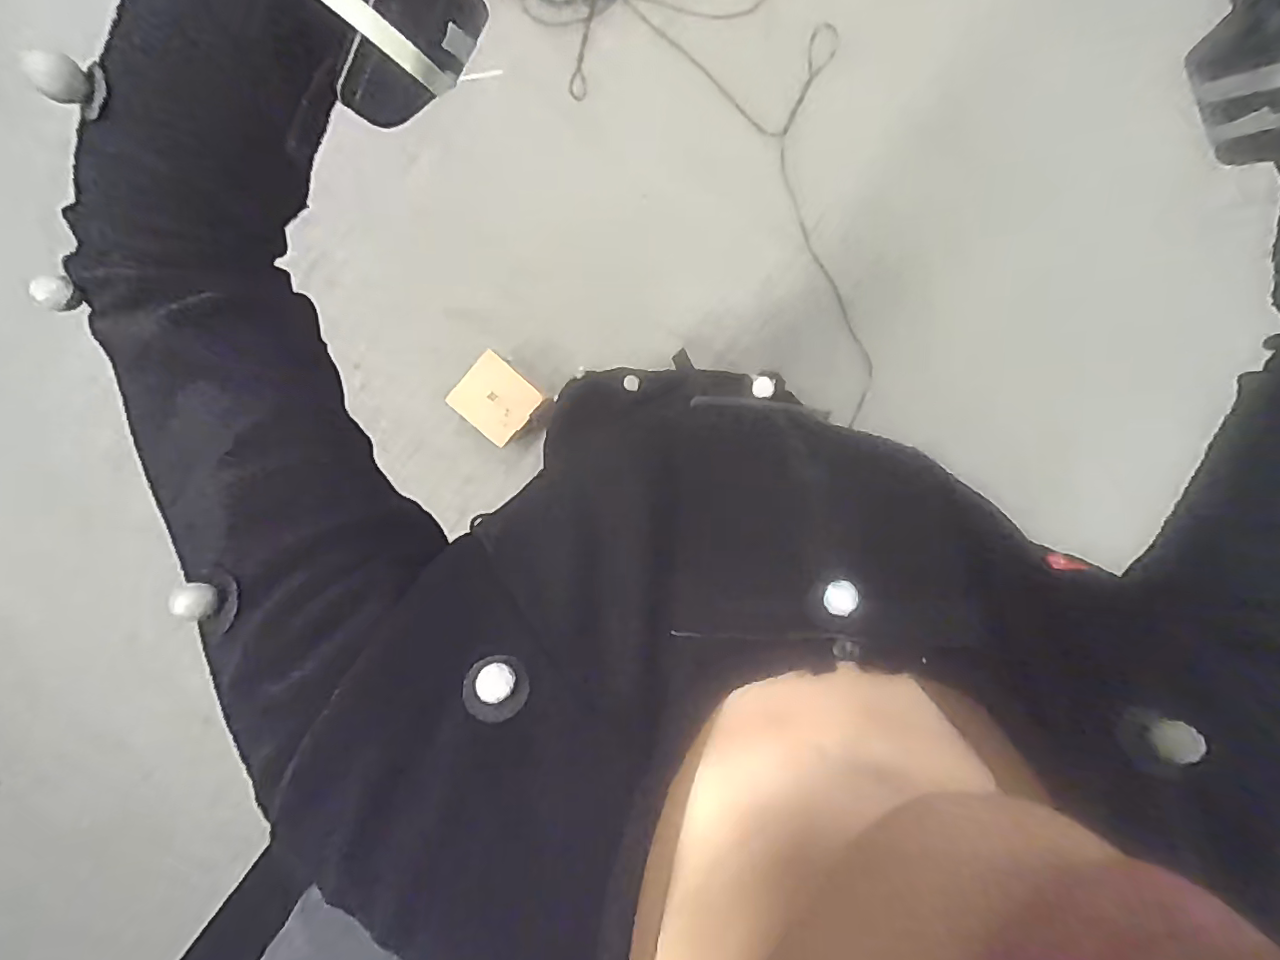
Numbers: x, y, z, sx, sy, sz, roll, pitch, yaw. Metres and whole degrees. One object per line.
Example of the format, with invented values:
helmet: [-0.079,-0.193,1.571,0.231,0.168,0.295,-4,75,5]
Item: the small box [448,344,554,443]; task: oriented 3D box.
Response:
small box: [-0.340,-0.215,1.354,0.179,0.176,0.168,42,97,-8]
